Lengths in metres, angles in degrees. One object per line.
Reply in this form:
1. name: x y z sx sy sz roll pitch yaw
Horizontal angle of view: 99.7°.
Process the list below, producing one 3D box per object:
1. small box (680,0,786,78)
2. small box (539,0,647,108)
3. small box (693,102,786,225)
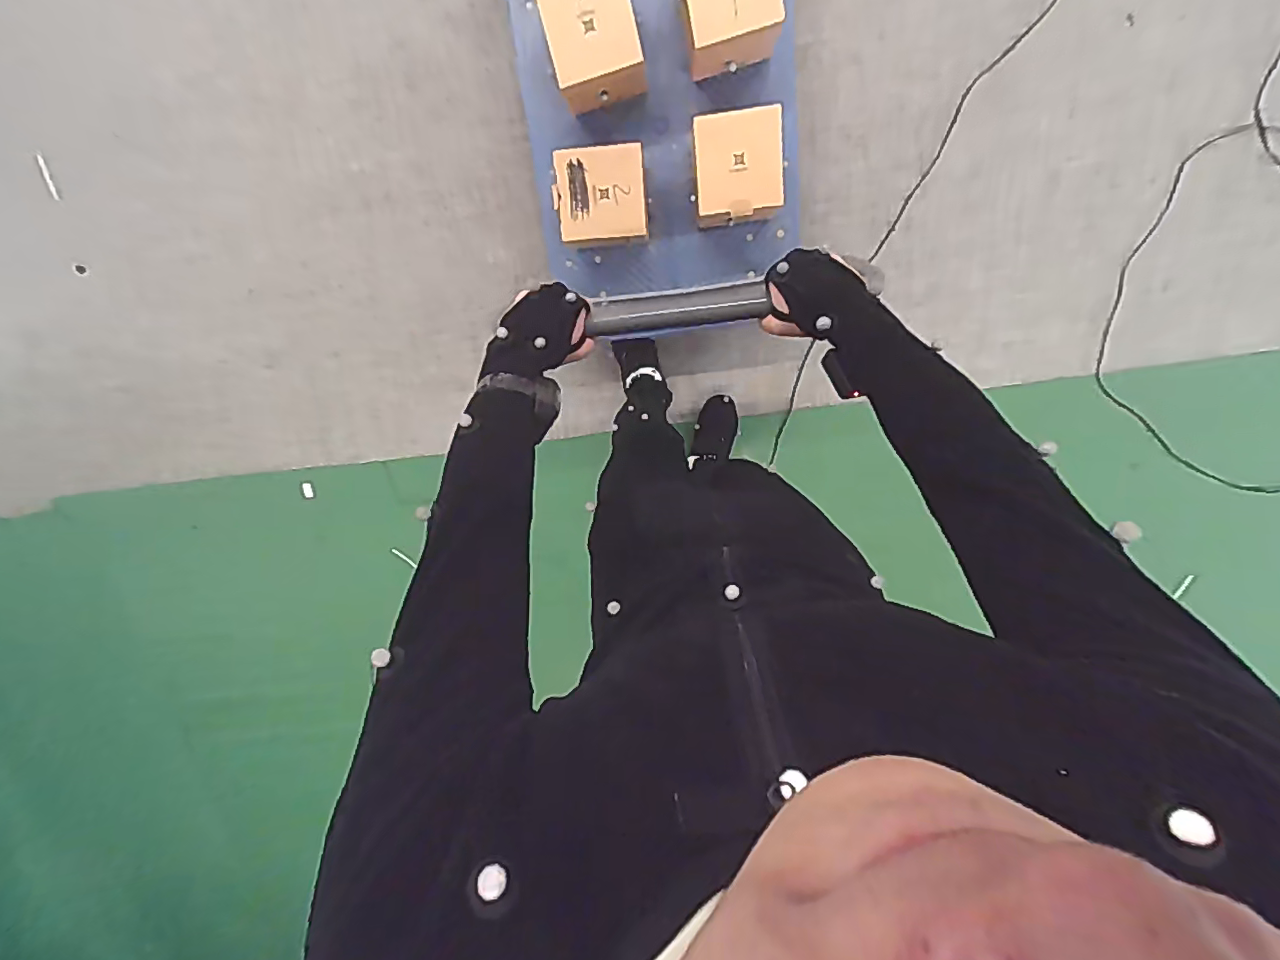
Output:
1. small box: 0.167 -0.910 1.022 0.168 0.176 0.179 -12 108 8
2. small box: -0.086 -0.860 1.056 0.168 0.176 0.179 -13 107 7
3. small box: 0.200 -0.640 1.113 0.168 0.176 0.179 -5 109 6
